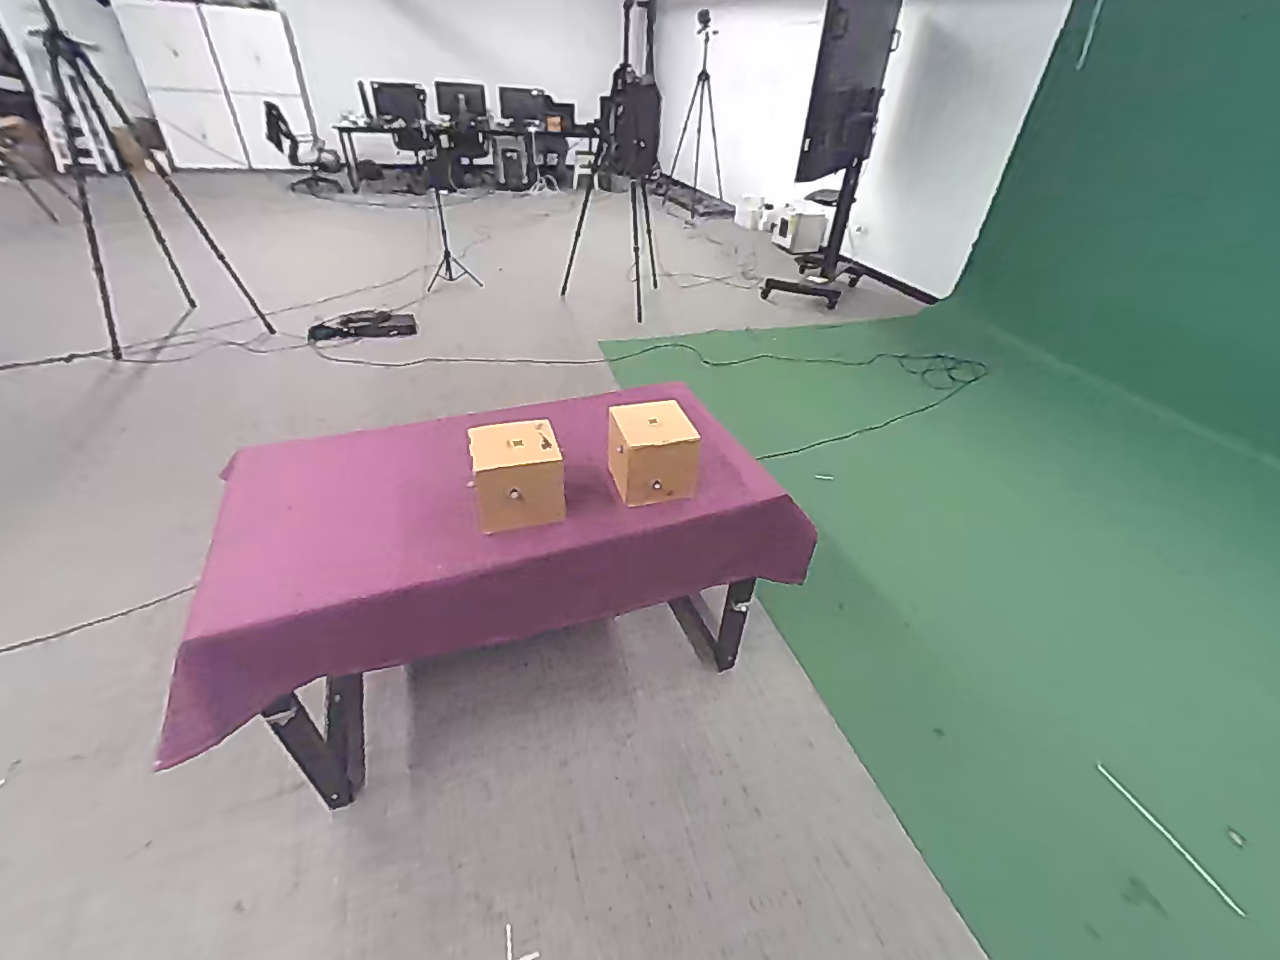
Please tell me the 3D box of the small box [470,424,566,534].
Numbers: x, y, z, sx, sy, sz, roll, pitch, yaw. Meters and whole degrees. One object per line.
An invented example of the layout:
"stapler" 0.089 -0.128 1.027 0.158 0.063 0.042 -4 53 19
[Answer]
"small box" -0.264 -0.001 1.176 0.179 0.176 0.168 -9 39 -15

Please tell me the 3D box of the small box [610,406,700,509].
"small box" 0.027 -0.055 1.274 0.168 0.176 0.179 -8 39 -15
